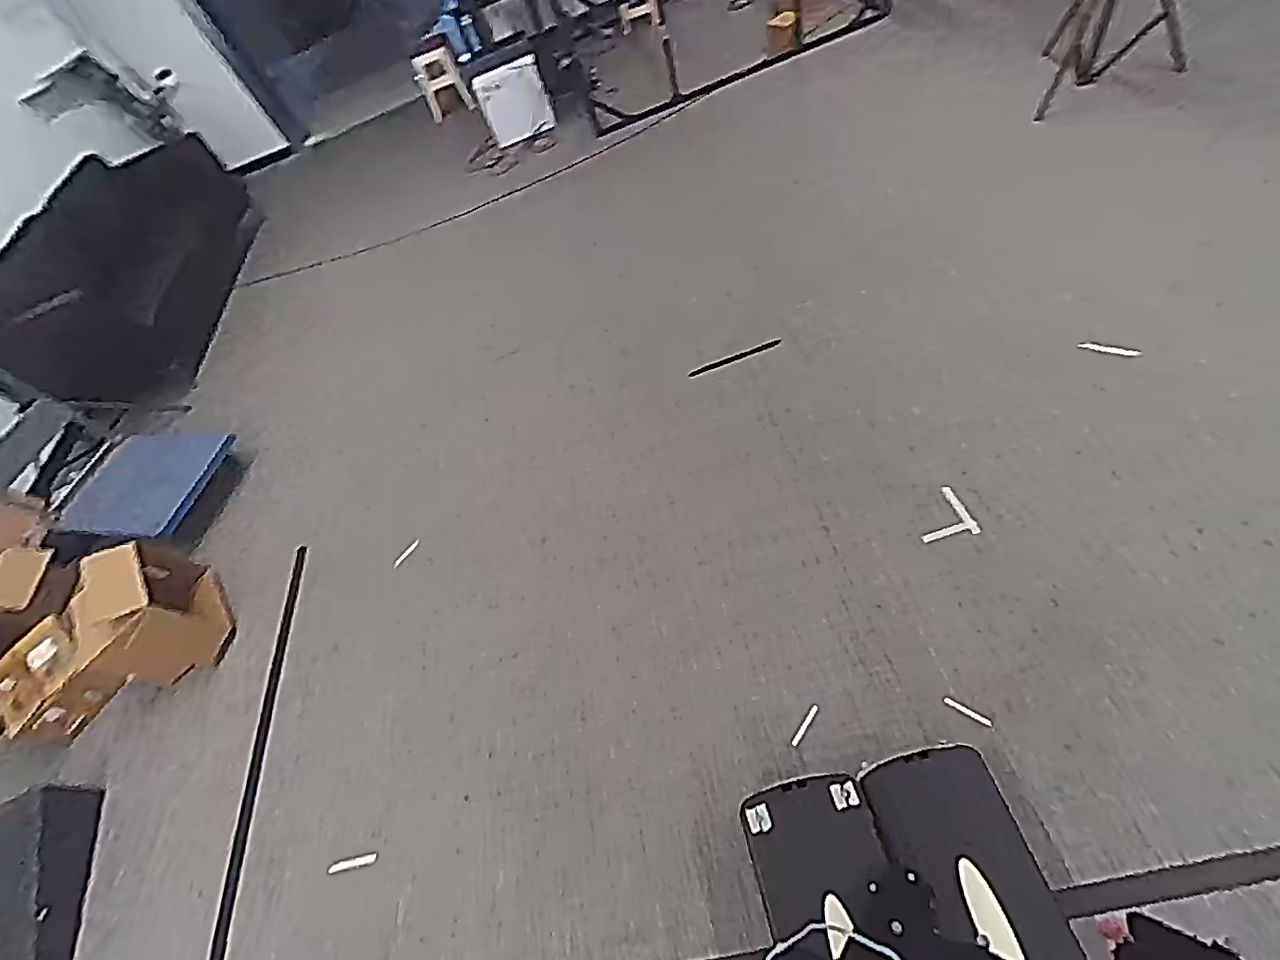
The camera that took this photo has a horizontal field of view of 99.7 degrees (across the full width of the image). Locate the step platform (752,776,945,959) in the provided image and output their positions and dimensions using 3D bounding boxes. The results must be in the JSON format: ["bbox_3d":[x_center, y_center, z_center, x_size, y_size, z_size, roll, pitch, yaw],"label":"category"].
[{"bbox_3d":[0.462,0.989,1.088,0.286,0.204,0.684,-19,52,5],"label":"step platform"}]
